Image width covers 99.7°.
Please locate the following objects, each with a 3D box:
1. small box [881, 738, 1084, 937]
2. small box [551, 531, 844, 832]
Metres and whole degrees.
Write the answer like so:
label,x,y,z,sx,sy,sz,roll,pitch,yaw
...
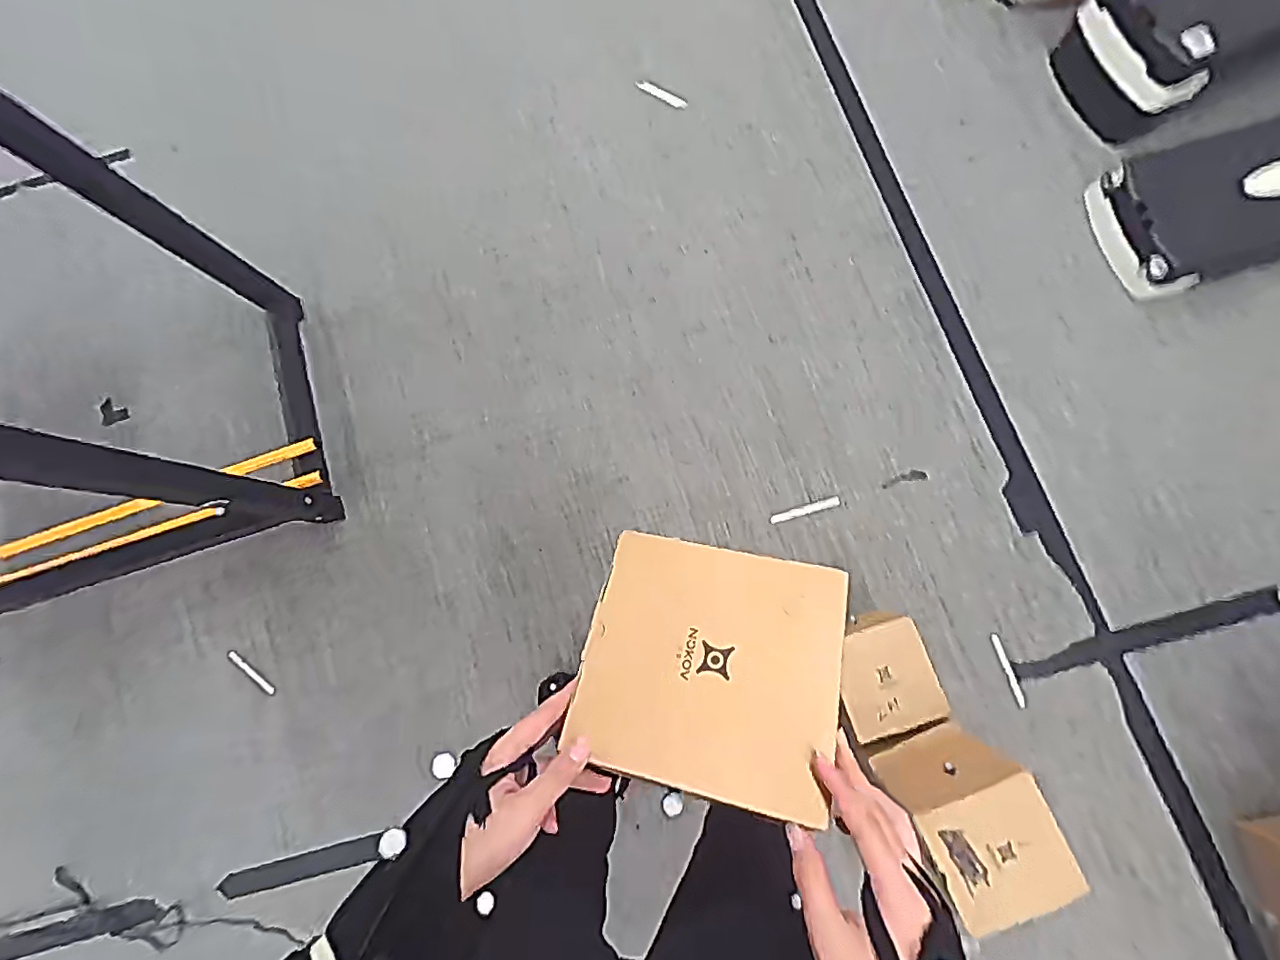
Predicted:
label,x,y,z,sx,sy,sz,roll,pitch,yaw
small box,0.490,0.520,0.813,0.179,0.176,0.168,-23,80,0
small box,0.054,0.162,0.440,0.179,0.176,0.168,9,61,14
